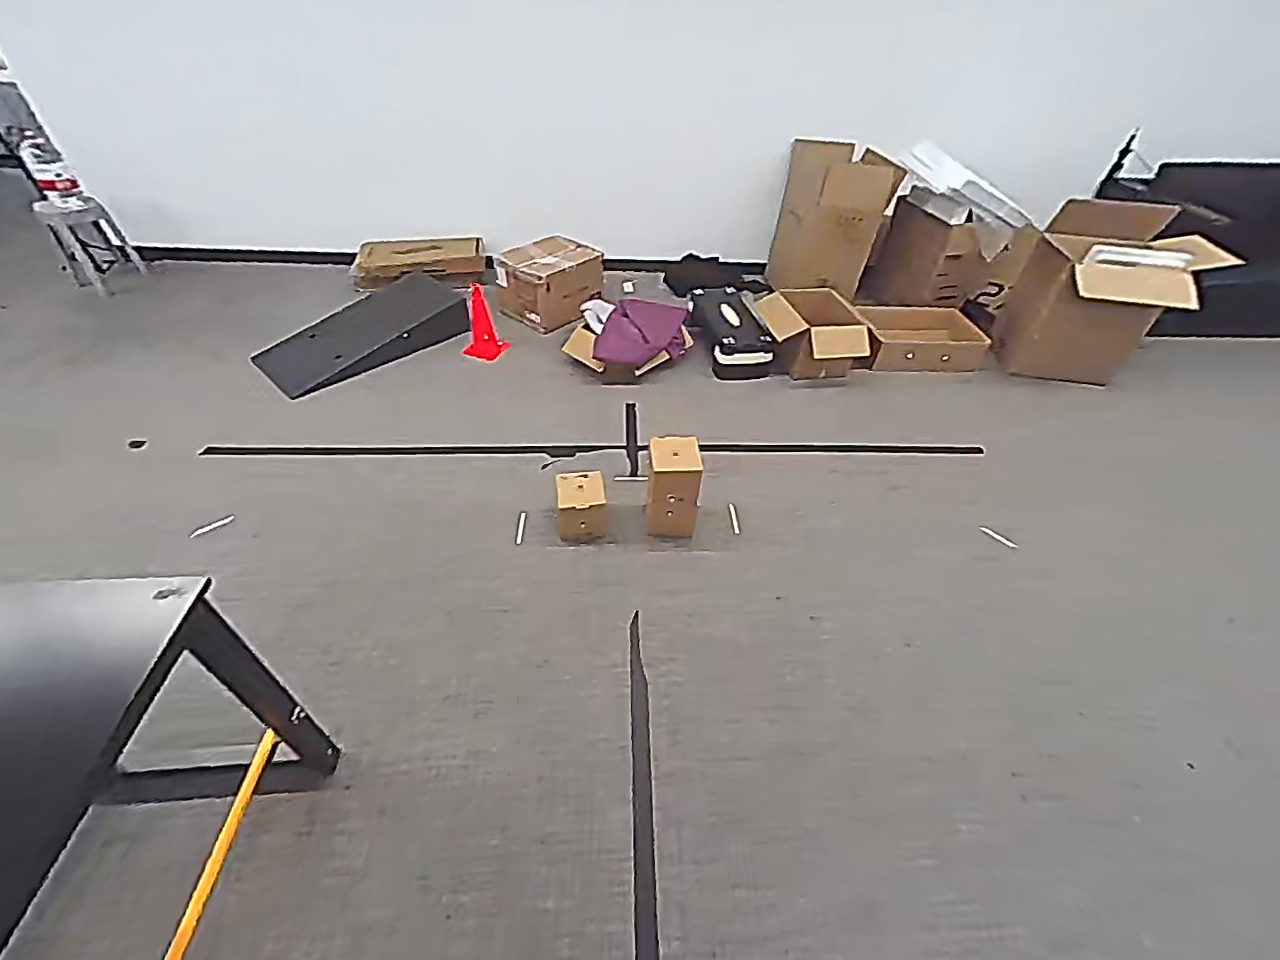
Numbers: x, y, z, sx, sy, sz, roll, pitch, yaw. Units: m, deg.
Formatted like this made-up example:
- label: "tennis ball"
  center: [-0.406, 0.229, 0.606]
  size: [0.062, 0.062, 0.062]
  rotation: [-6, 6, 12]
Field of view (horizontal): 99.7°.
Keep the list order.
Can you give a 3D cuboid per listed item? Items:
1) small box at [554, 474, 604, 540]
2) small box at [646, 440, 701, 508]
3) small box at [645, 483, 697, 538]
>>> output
- label: "small box"
  center: [-0.220, 0.104, 1.966]
  size: [0.168, 0.176, 0.179]
  rotation: [-5, 44, -8]
- label: "small box"
  center: [0.110, -0.020, 1.885]
  size: [0.168, 0.176, 0.179]
  rotation: [-2, 45, -5]
- label: "small box"
  center: [0.108, 0.099, 1.996]
  size: [0.179, 0.176, 0.168]
  rotation: [3, 43, -3]
